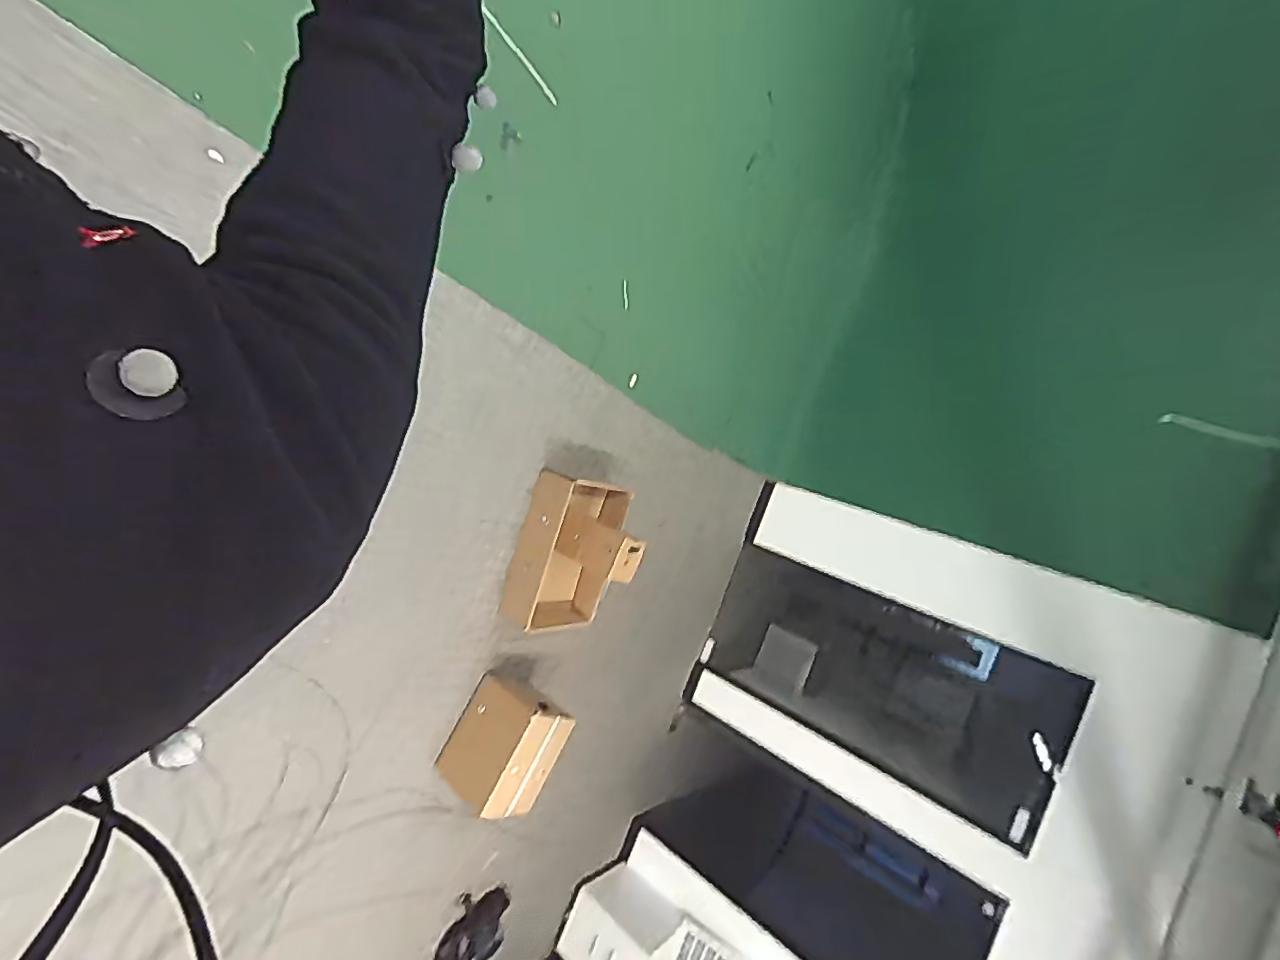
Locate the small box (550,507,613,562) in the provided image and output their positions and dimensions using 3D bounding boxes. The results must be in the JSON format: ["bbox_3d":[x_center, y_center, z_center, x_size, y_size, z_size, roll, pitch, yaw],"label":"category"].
[{"bbox_3d":[-0.241,0.228,2.219,0.168,0.176,0.179,24,90,-55],"label":"small box"}]

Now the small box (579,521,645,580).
[{"bbox_3d":[-0.114,0.277,2.127,0.168,0.176,0.179,23,91,-55],"label":"small box"}]
